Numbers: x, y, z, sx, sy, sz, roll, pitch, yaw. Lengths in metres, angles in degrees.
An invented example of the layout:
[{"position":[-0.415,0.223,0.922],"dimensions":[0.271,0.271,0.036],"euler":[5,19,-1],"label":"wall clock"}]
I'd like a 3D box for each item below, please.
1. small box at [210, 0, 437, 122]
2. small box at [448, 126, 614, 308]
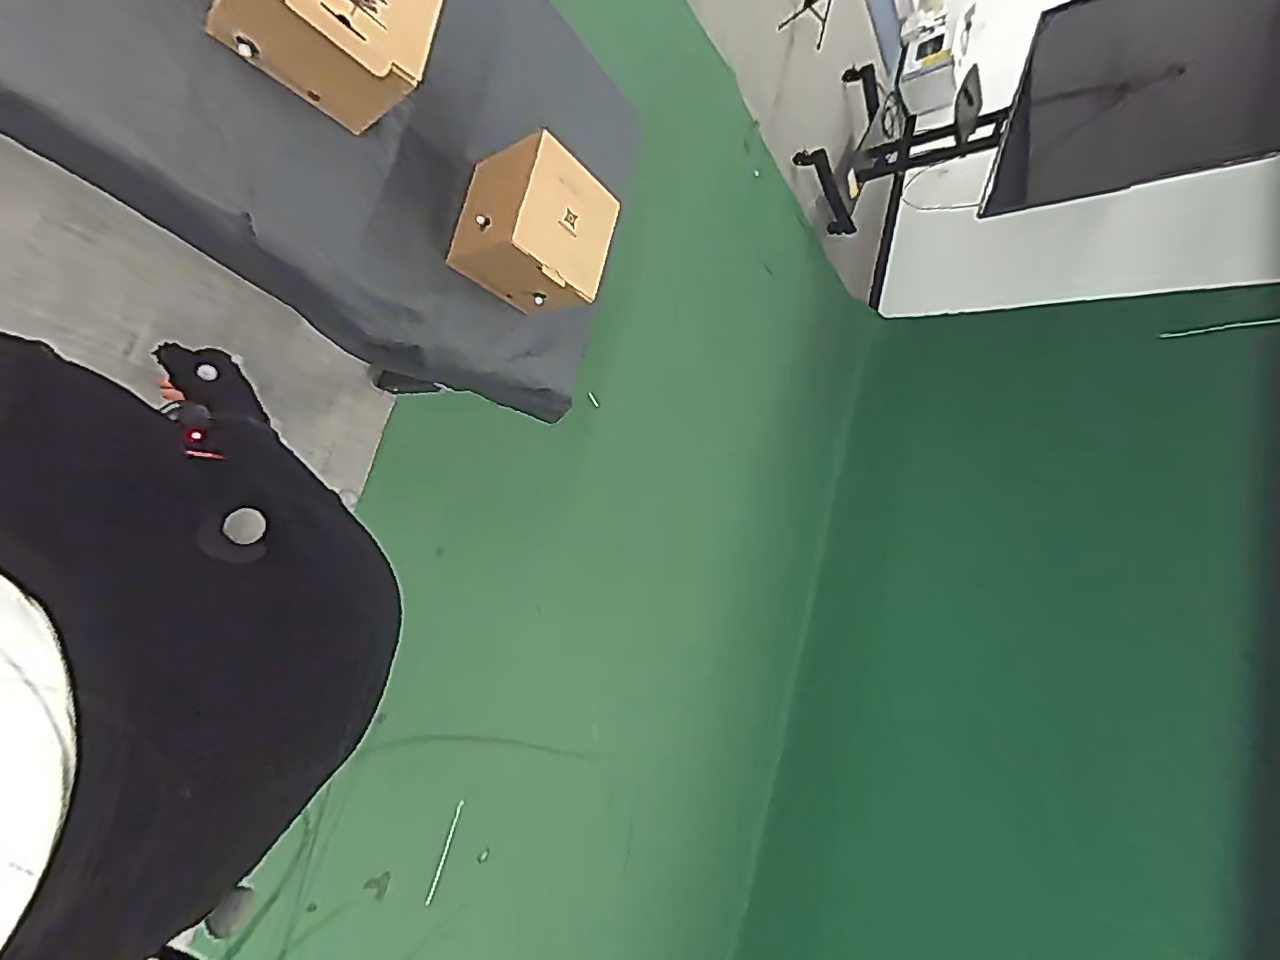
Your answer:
[{"position":[-0.346,-0.550,0.602],"dimensions":[0.168,0.176,0.179],"euler":[20,80,-49],"label":"small box"},{"position":[-0.169,-0.386,0.834],"dimensions":[0.168,0.176,0.179],"euler":[22,77,-50],"label":"small box"}]
